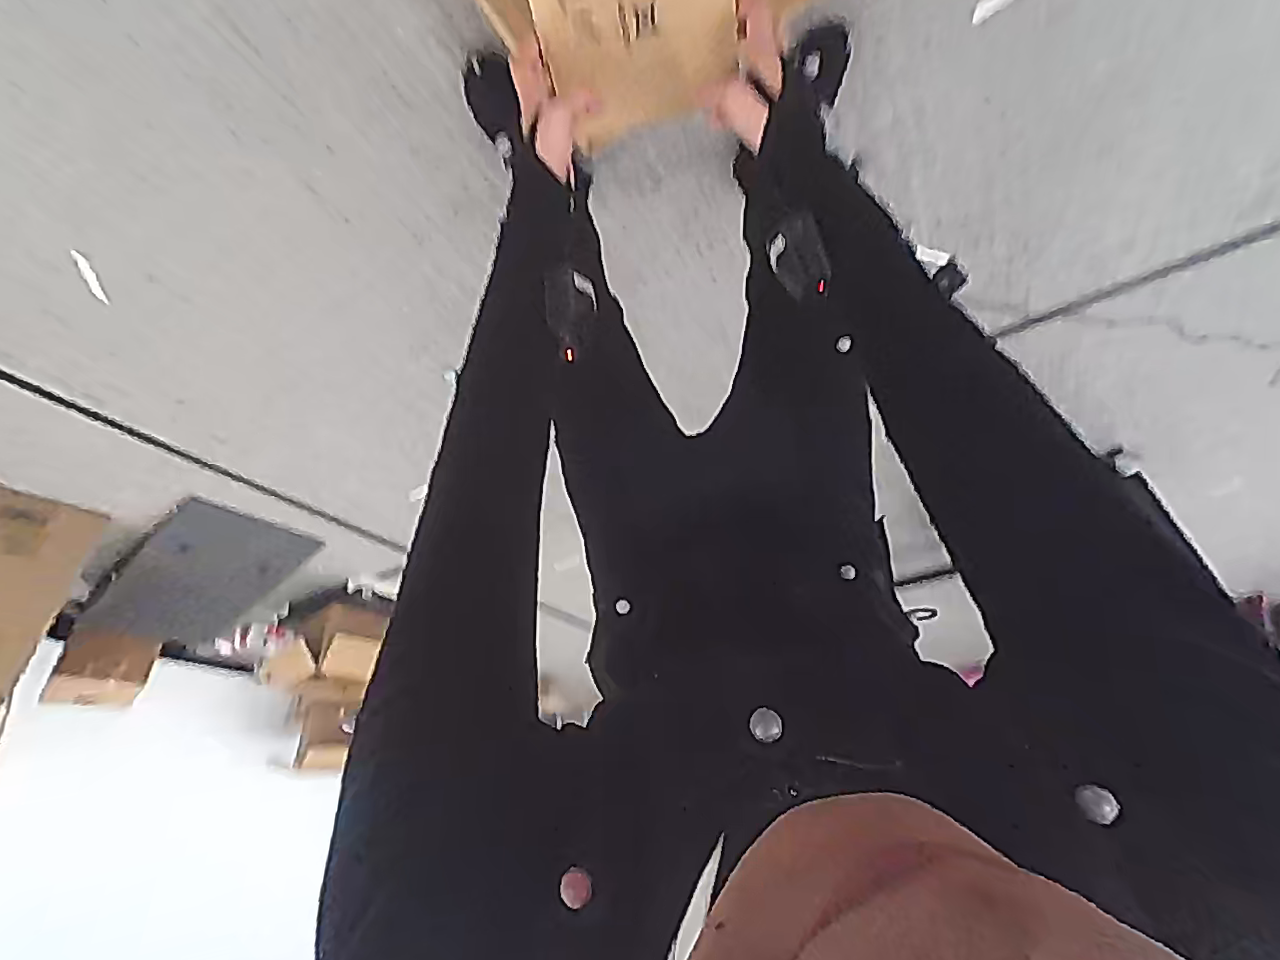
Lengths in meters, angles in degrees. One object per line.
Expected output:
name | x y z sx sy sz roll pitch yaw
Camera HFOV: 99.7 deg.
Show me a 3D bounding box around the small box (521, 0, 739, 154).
small box | -0.010 -0.453 0.514 0.179 0.176 0.168 -9 144 9
